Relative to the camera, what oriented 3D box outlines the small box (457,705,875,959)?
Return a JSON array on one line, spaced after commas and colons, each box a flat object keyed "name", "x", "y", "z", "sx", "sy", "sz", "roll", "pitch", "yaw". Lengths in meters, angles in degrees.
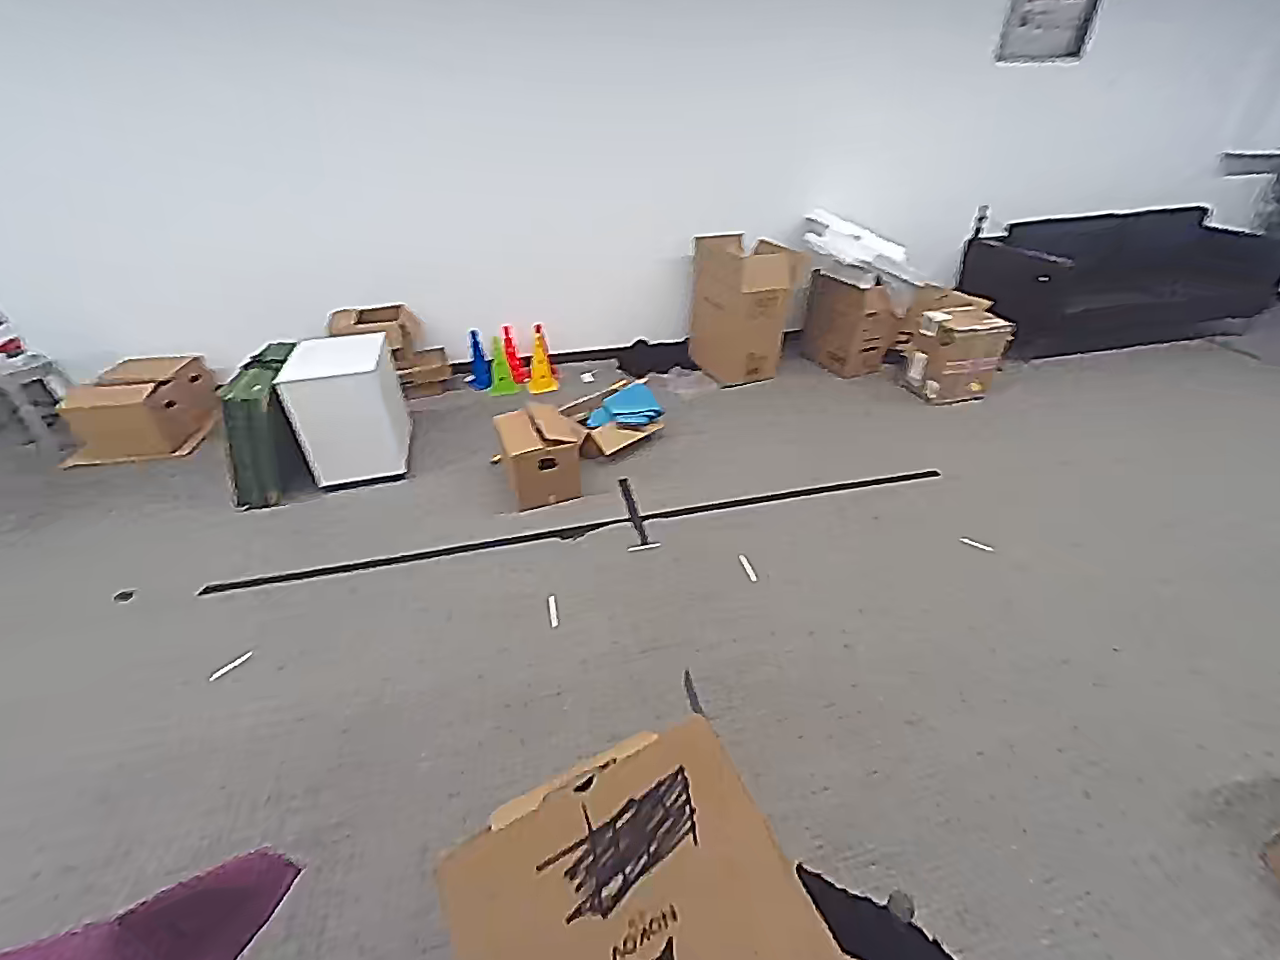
[{"name": "small box", "x": 0.010, "y": 0.274, "z": 0.315, "sx": 0.168, "sy": 0.176, "sz": 0.179, "roll": -21, "pitch": 53, "yaw": -22}]
